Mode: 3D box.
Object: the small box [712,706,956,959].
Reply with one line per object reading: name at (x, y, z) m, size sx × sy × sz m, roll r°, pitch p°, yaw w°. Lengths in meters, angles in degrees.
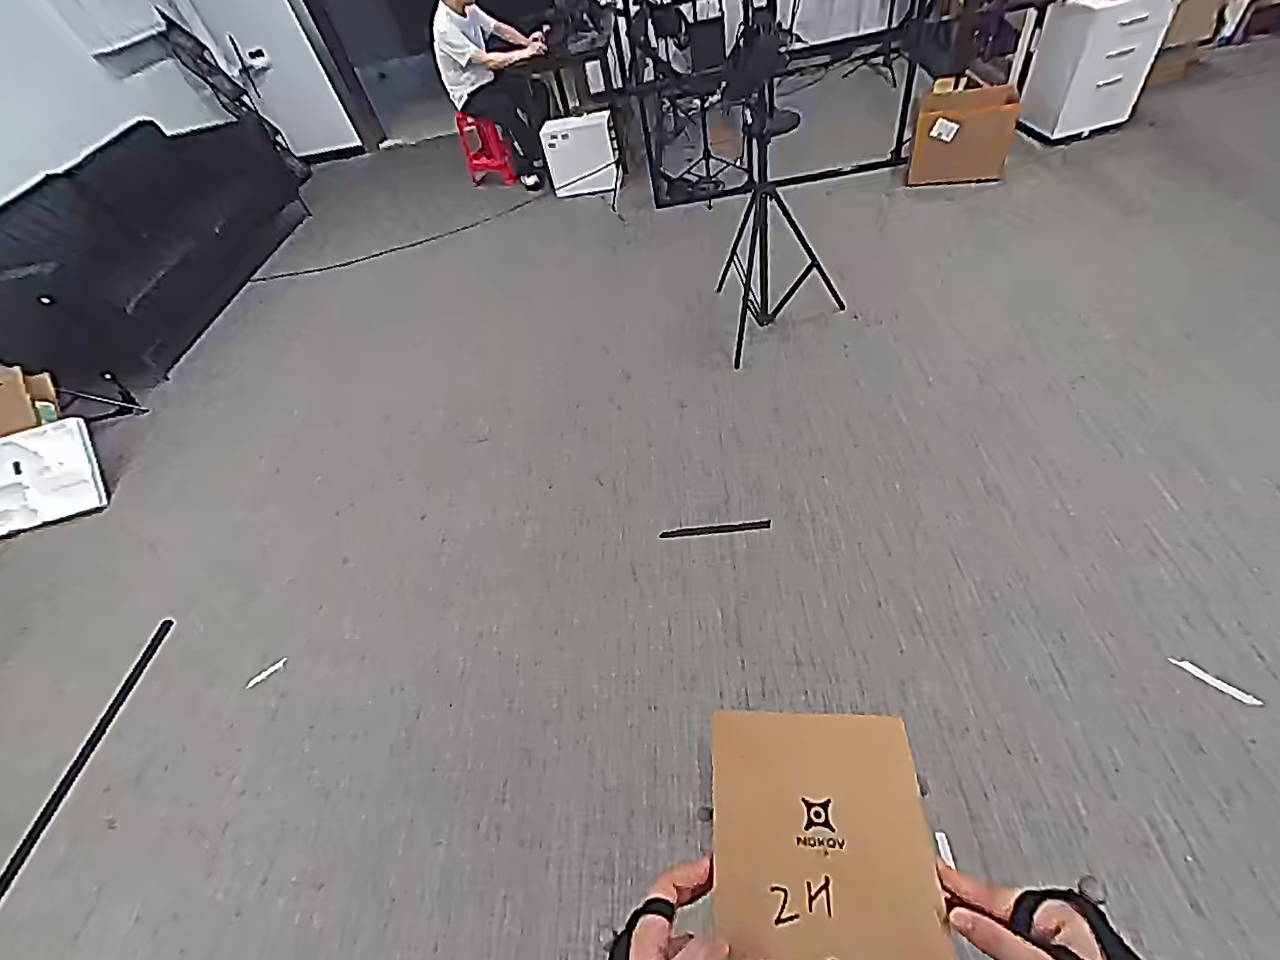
small box at (0.151, 0.321, 0.482) m, size 0.168 × 0.176 × 0.179 m, roll -3°, pitch 49°, yaw 10°
